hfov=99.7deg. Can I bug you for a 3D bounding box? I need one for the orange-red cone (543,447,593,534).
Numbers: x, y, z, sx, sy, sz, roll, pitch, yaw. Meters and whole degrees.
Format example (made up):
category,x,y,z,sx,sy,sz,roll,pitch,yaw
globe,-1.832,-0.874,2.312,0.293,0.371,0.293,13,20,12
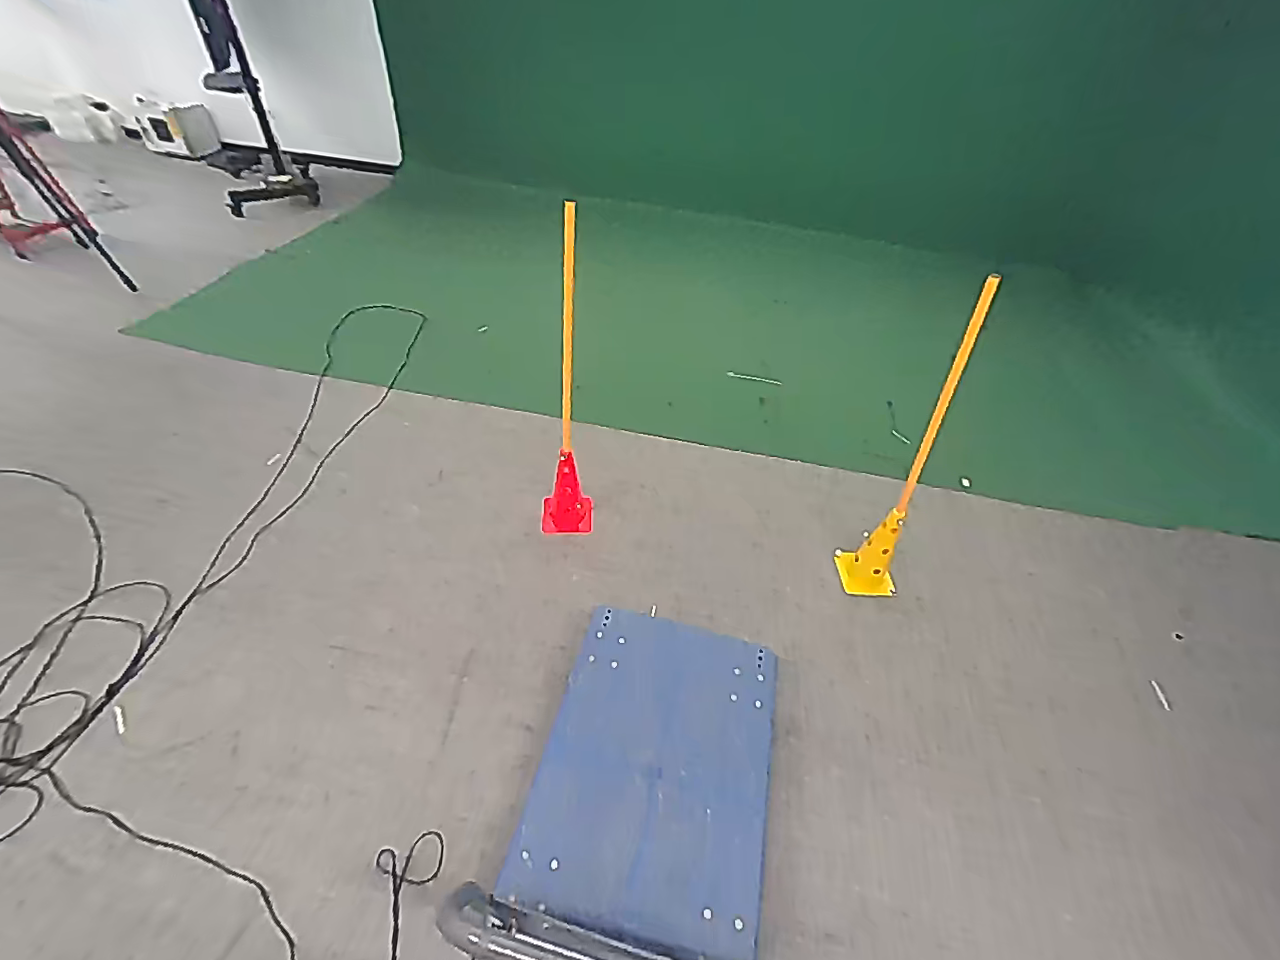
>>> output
category,x,y,z,sx,sy,sz,roll,pitch,yaw
orange-red cone,-0.282,0.020,2.074,0.199,0.360,0.198,0,44,-4
